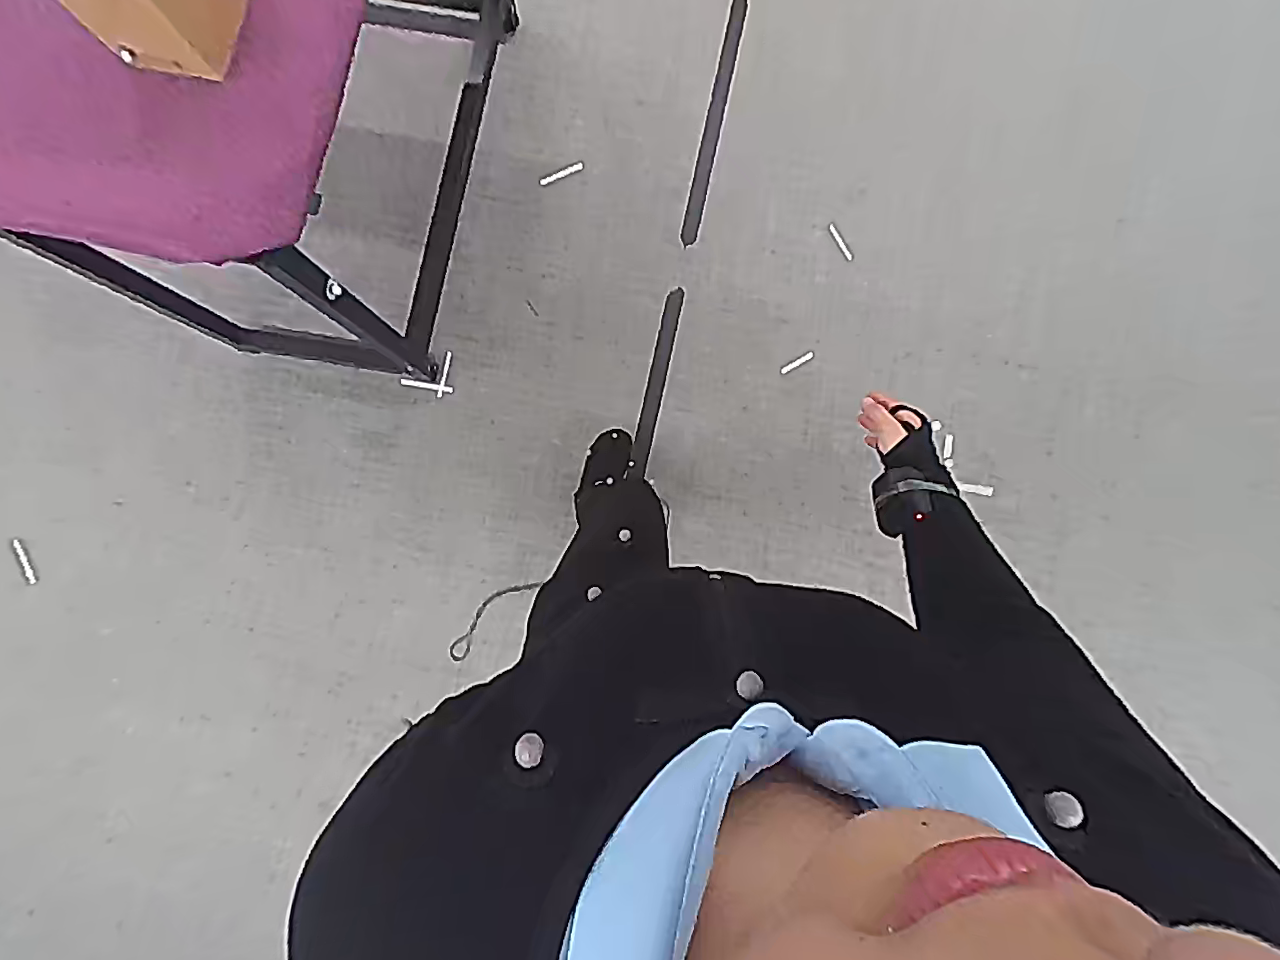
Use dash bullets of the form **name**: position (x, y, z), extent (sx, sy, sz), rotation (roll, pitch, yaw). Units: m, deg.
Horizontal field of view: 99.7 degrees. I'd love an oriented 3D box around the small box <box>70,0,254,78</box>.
- **small box**: position (-0.715, -0.741, 0.792), extent (0.168, 0.176, 0.179), rotation (11, 83, 1)
